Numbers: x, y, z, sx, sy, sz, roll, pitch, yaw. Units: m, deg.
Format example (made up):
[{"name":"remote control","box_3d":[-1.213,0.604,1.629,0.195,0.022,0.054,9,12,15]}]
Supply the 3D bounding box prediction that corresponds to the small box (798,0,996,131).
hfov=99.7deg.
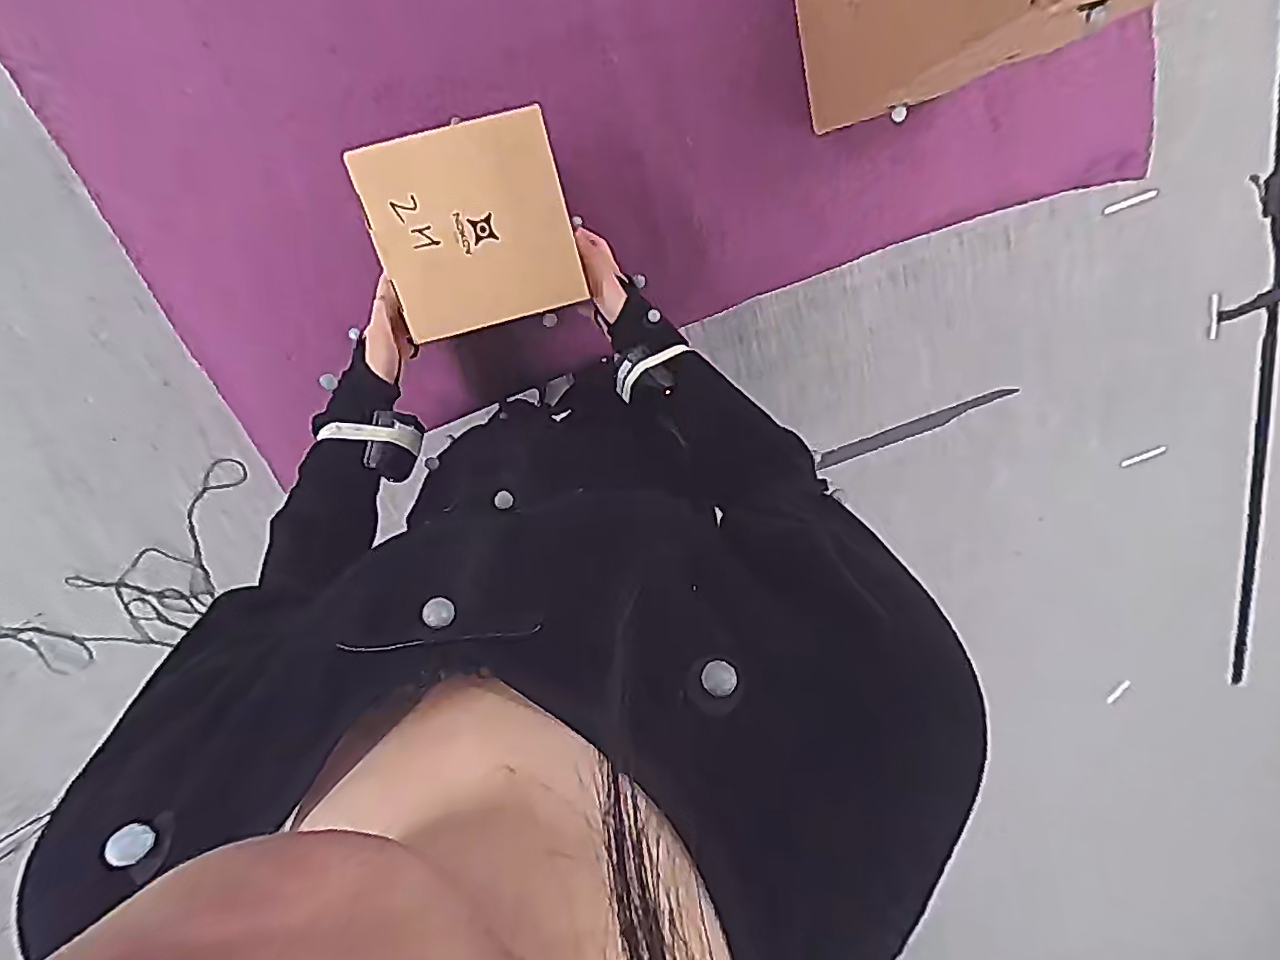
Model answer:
[{"name":"small box","box_3d":[0.273,-0.487,0.541,0.168,0.176,0.179,-18,112,-1]}]

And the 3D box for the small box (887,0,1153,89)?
[{"name":"small box","box_3d":[0.296,-0.427,0.390,0.168,0.176,0.179,-16,111,-1]}]

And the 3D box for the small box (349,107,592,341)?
[{"name":"small box","box_3d":[-0.158,-0.253,0.563,0.179,0.176,0.168,-16,110,-2]}]
